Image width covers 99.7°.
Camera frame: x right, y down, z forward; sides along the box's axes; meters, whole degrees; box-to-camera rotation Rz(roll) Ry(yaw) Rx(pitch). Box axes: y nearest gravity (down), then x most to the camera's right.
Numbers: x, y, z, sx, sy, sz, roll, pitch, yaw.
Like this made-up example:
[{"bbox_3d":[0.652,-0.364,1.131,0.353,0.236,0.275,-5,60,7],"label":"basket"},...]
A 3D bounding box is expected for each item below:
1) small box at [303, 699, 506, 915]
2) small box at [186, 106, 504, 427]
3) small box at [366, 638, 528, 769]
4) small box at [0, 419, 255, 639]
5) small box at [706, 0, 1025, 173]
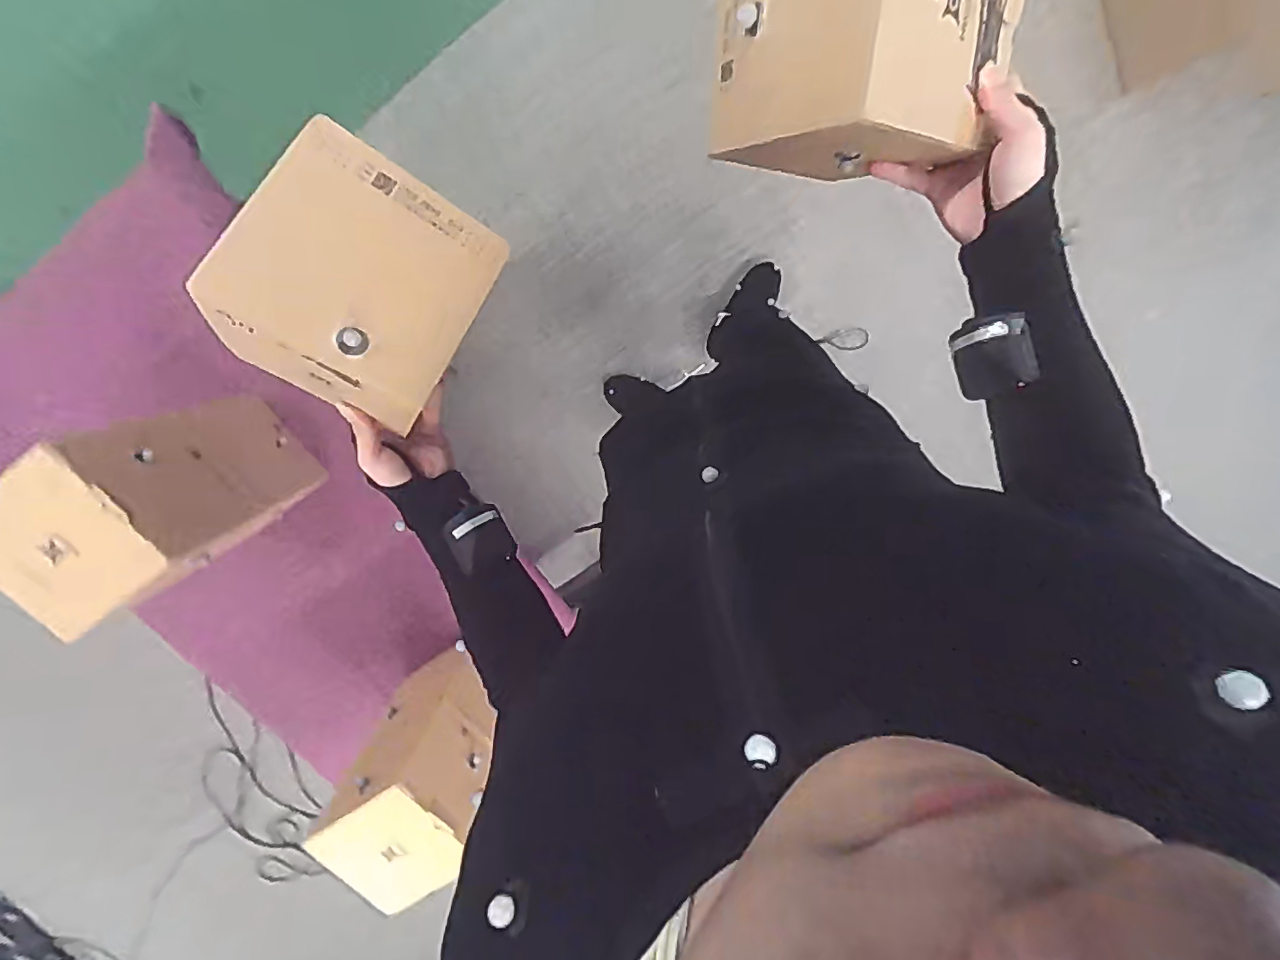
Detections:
[{"bbox_3d":[-0.323,0.461,0.781,0.179,0.176,0.168,-36,103,10],"label":"small box"},{"bbox_3d":[-0.243,-0.170,0.483,0.168,0.179,0.176,30,73,-22],"label":"small box"},{"bbox_3d":[-0.320,0.413,0.937,0.179,0.176,0.168,-35,104,10],"label":"small box"},{"bbox_3d":[-0.617,0.047,0.652,0.179,0.176,0.168,-34,104,10],"label":"small box"},{"bbox_3d":[0.179,-0.362,0.441,0.179,0.176,0.168,-10,113,-30],"label":"small box"}]
